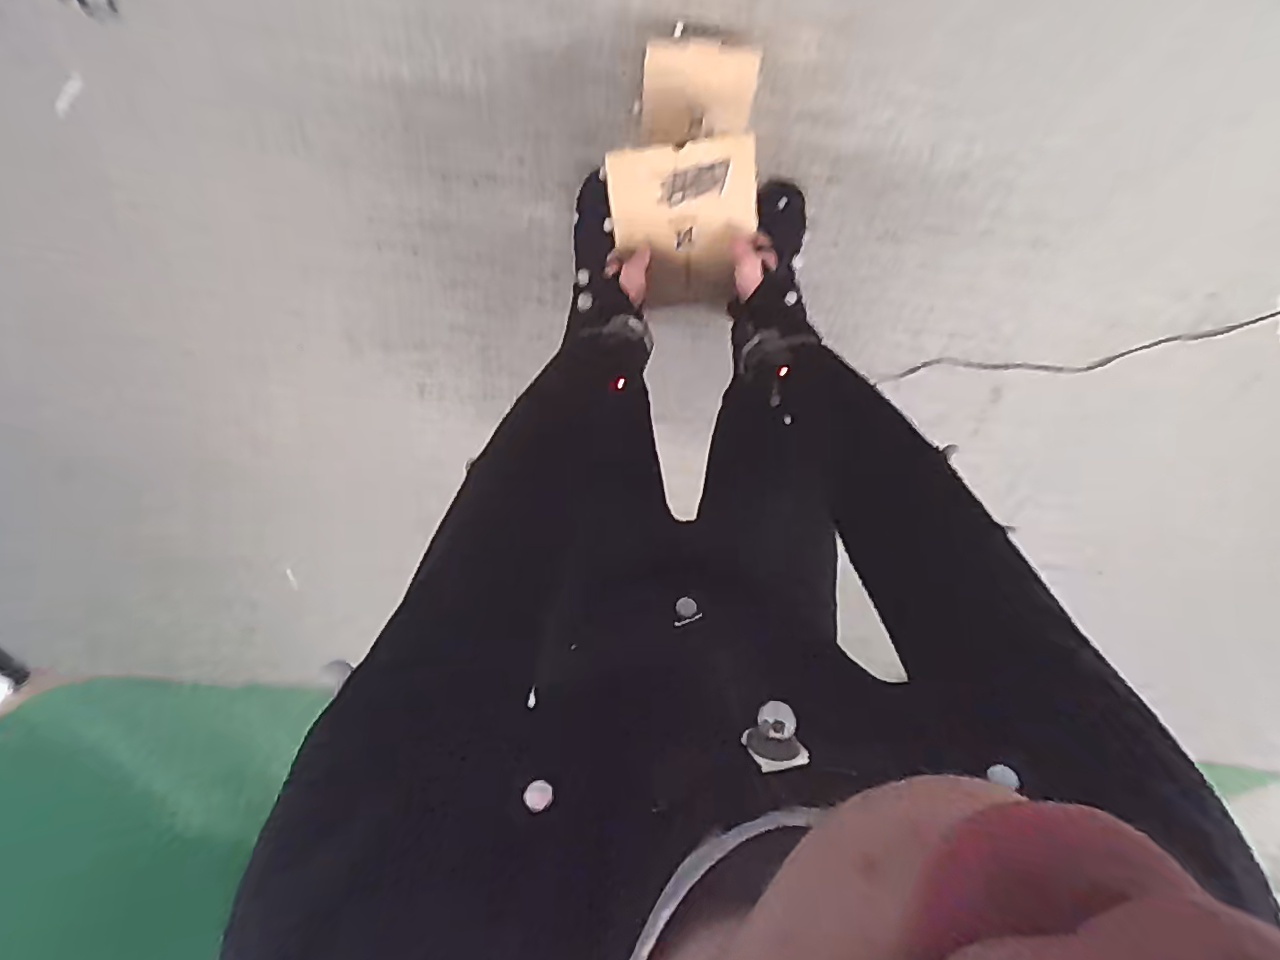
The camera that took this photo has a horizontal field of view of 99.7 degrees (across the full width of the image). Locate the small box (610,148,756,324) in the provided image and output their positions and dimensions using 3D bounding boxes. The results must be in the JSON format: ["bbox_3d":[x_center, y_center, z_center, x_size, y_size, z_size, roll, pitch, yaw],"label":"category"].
[{"bbox_3d":[0.053,-0.316,0.699,0.168,0.176,0.179,-5,120,3],"label":"small box"}]

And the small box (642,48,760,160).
[{"bbox_3d":[0.089,-0.587,0.885,0.168,0.176,0.179,4,134,0],"label":"small box"}]
